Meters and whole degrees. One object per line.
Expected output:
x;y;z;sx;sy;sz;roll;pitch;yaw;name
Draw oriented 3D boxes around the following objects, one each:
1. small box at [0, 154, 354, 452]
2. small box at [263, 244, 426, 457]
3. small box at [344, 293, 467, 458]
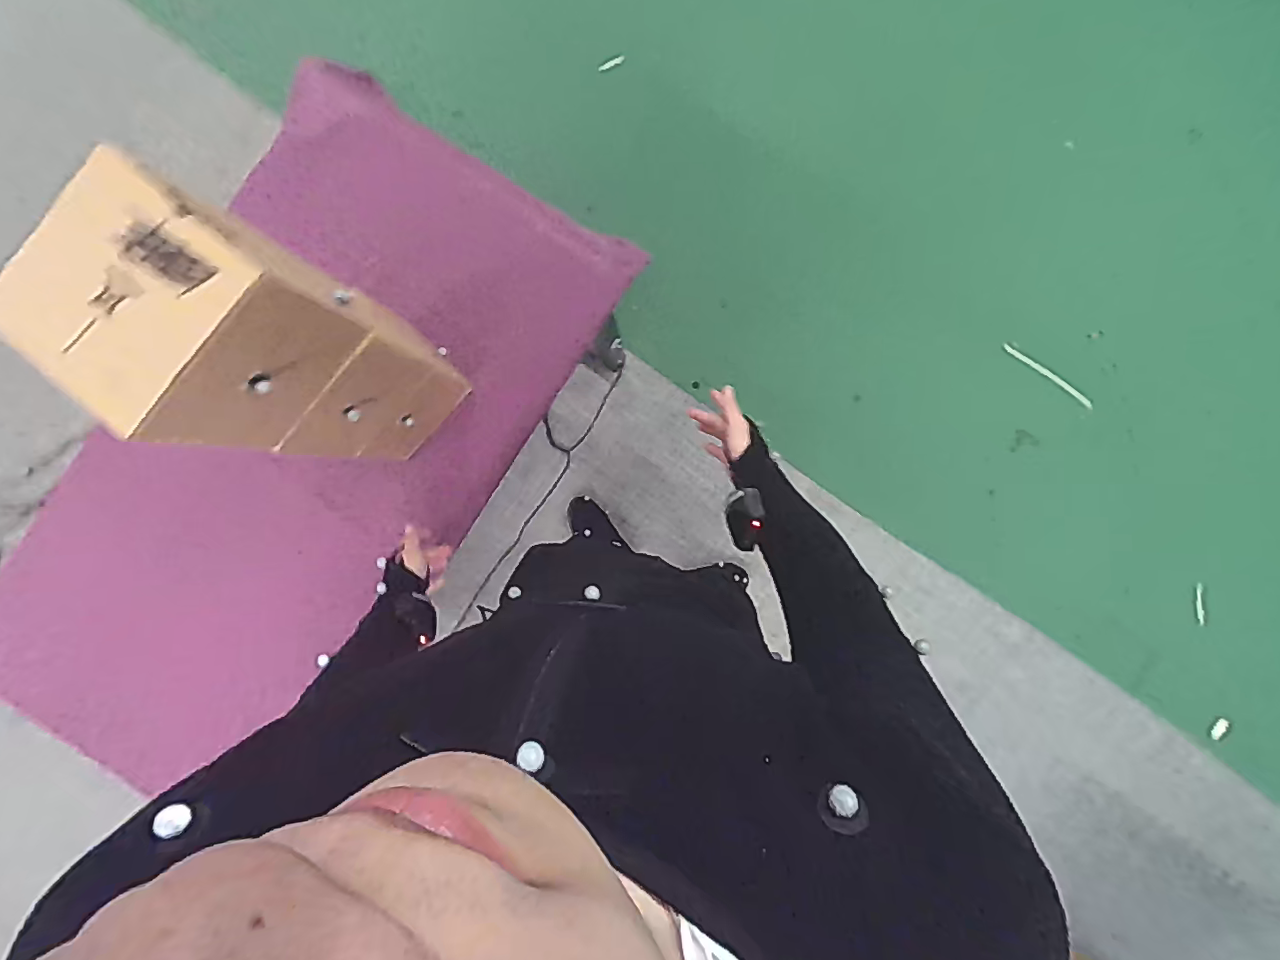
-0.408;-0.143;0.506;0.168;0.176;0.179;39;92;0;small box
-0.403;-0.143;0.671;0.168;0.176;0.179;40;93;0;small box
-0.401;-0.146;0.834;0.168;0.176;0.179;43;91;0;small box
